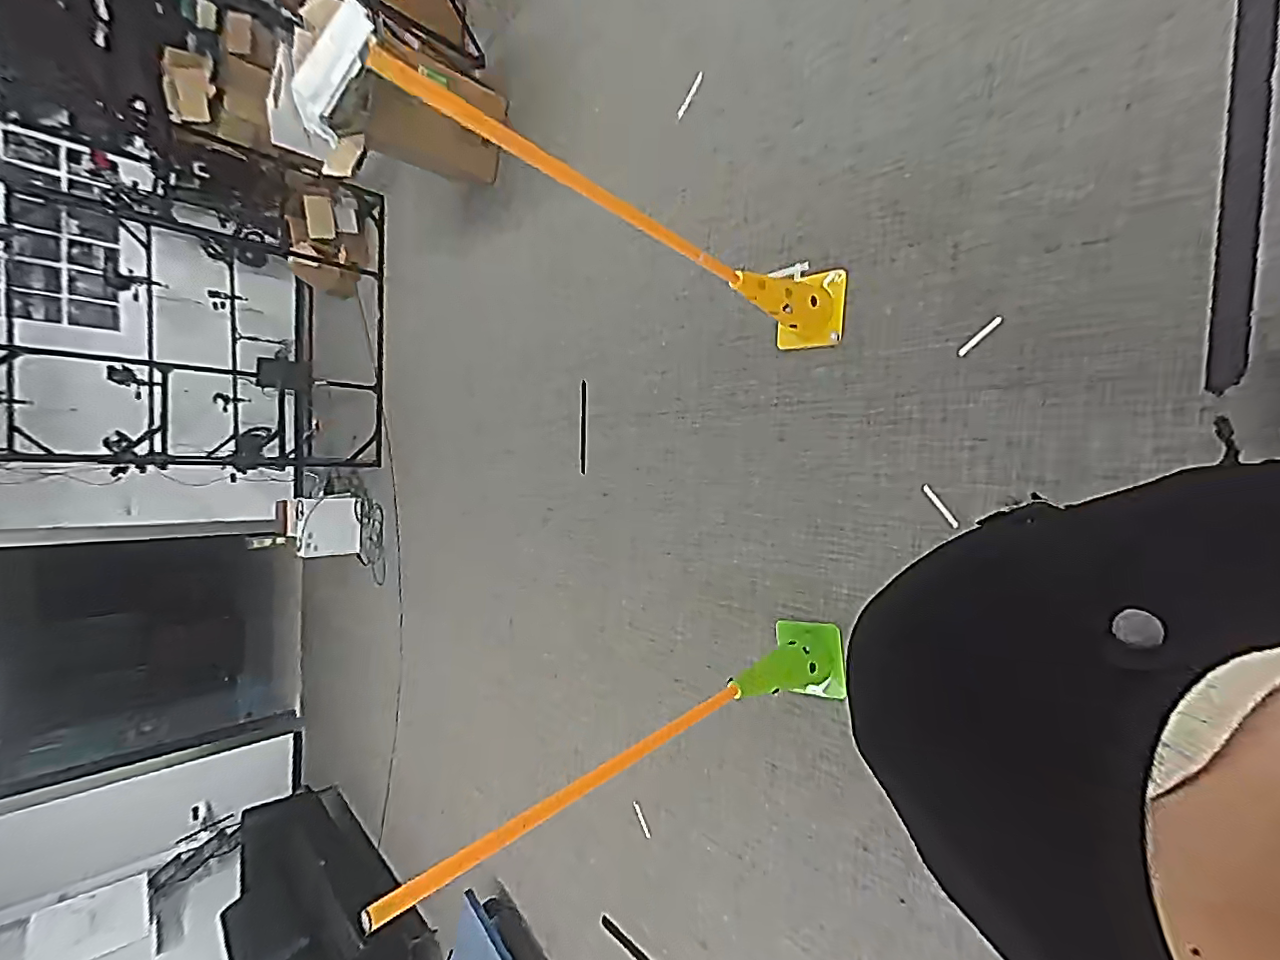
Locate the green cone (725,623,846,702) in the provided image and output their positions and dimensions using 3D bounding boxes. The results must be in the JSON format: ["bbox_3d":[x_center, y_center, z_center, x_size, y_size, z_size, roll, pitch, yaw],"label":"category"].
[{"bbox_3d":[0.349,0.498,1.391,0.200,0.368,0.202,-11,80,46],"label":"green cone"}]
